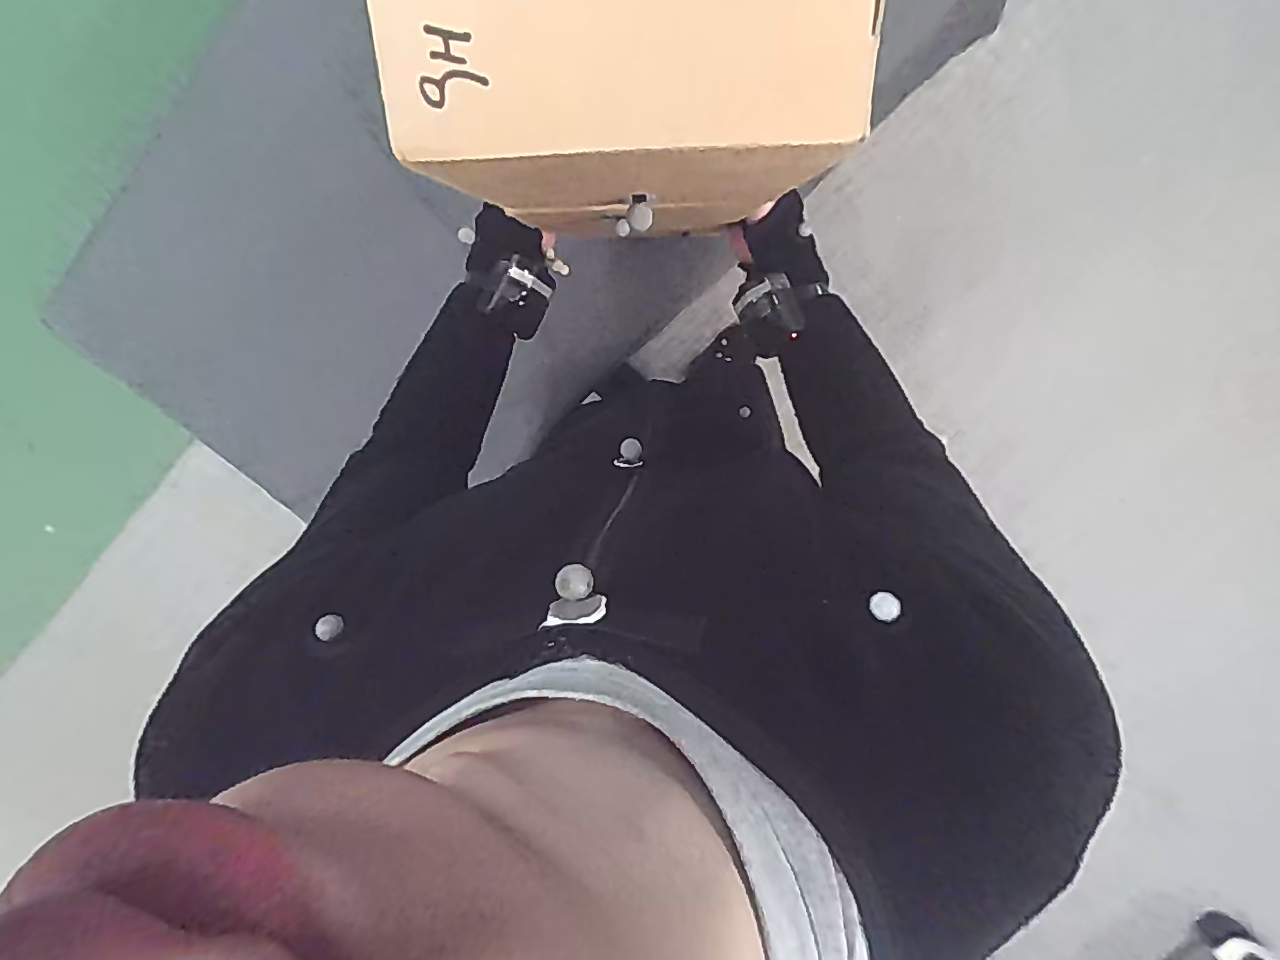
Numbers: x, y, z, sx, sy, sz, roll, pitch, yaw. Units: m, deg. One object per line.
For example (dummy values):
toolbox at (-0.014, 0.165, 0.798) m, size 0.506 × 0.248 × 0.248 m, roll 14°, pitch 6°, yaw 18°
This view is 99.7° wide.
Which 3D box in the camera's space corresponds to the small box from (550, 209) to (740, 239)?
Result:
small box at (0.006, -0.338, 0.540) m, size 0.179 × 0.176 × 0.168 m, roll 0°, pitch 110°, yaw 3°

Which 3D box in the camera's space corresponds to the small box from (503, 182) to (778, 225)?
small box at (0.000, -0.280, 0.387) m, size 0.179 × 0.176 × 0.168 m, roll -1°, pitch 111°, yaw 1°

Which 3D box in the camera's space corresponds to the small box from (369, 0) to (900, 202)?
small box at (-0.002, -0.223, 0.234) m, size 0.179 × 0.176 × 0.168 m, roll -1°, pitch 111°, yaw 1°
